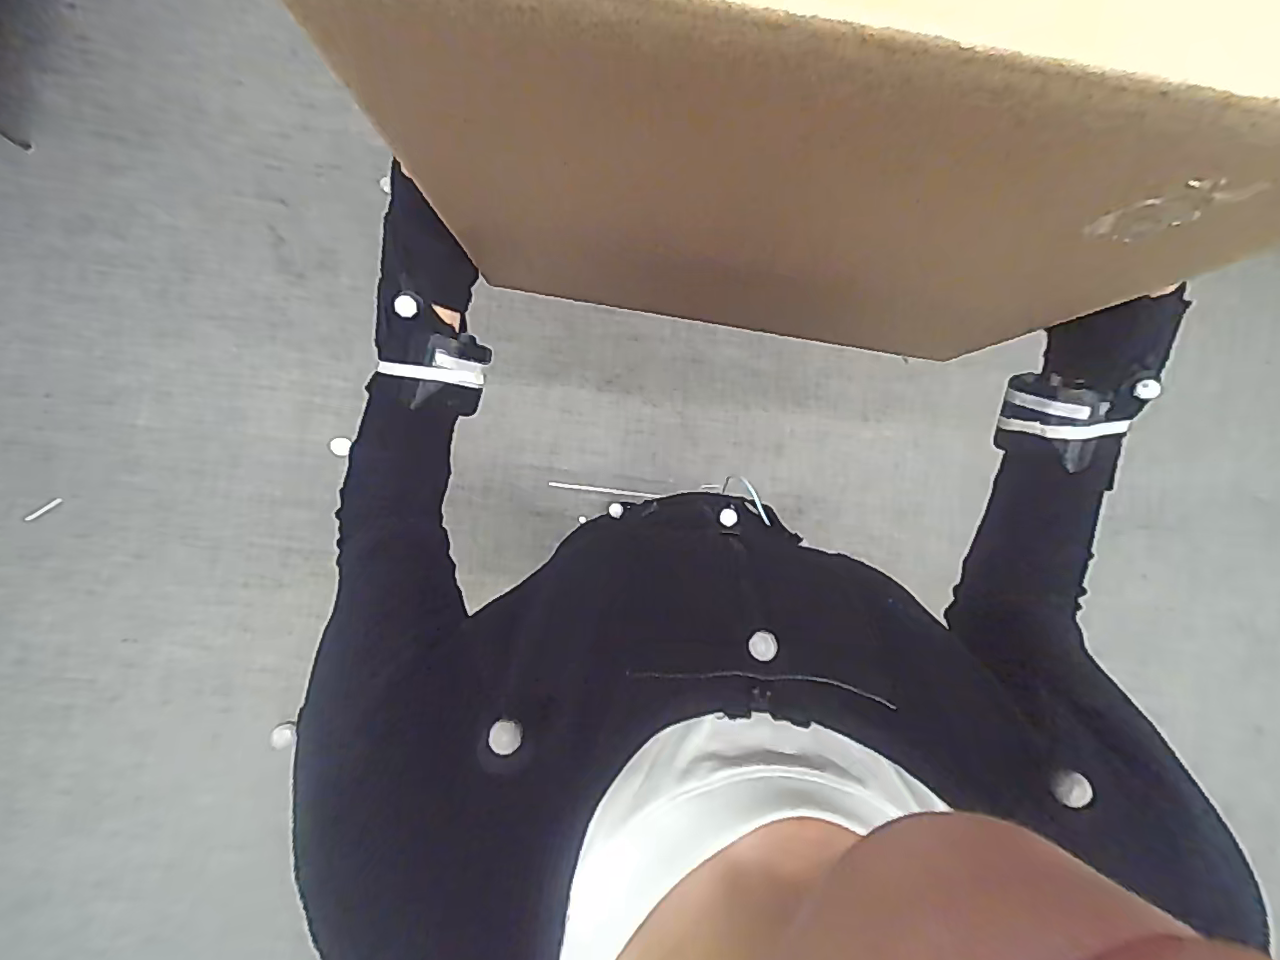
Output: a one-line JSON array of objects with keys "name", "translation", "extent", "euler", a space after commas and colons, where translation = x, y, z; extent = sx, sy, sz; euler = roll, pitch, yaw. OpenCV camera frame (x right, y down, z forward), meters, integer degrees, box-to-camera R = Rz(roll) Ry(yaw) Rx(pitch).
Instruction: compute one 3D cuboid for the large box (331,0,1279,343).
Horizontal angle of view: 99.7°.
[{"name": "large box", "translation": [0.097, -0.291, 0.309], "extent": [0.408, 0.320, 0.320], "euler": [9, 92, -3]}]
